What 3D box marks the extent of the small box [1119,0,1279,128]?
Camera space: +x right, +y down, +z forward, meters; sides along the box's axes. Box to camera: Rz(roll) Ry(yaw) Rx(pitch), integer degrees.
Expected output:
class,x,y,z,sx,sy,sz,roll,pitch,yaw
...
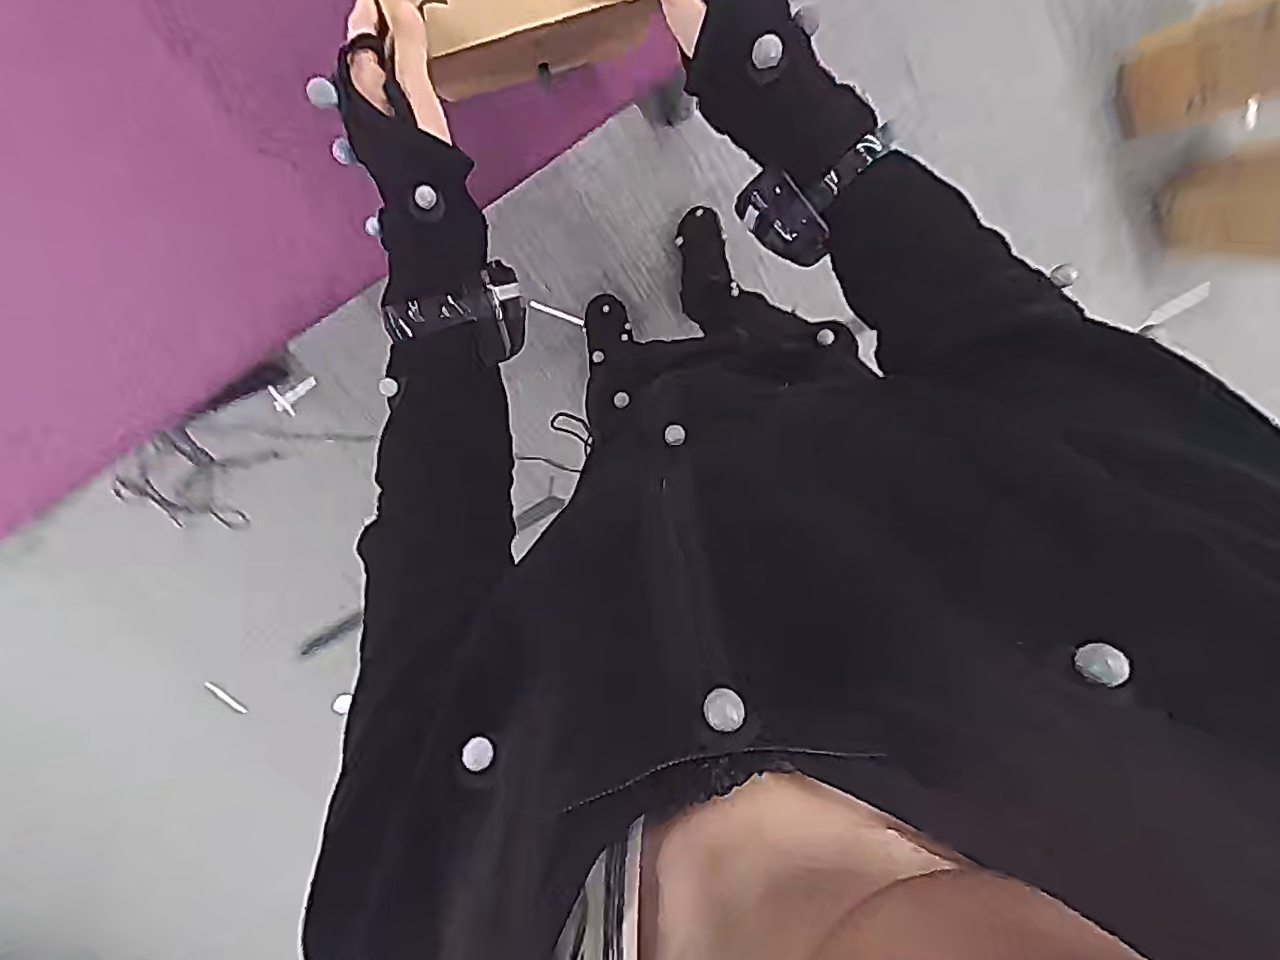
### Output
class,x,y,z,sx,sy,sz,roll,pitch,yaw
small box,1.119,-0.850,1.084,0.168,0.176,0.179,-31,111,10
